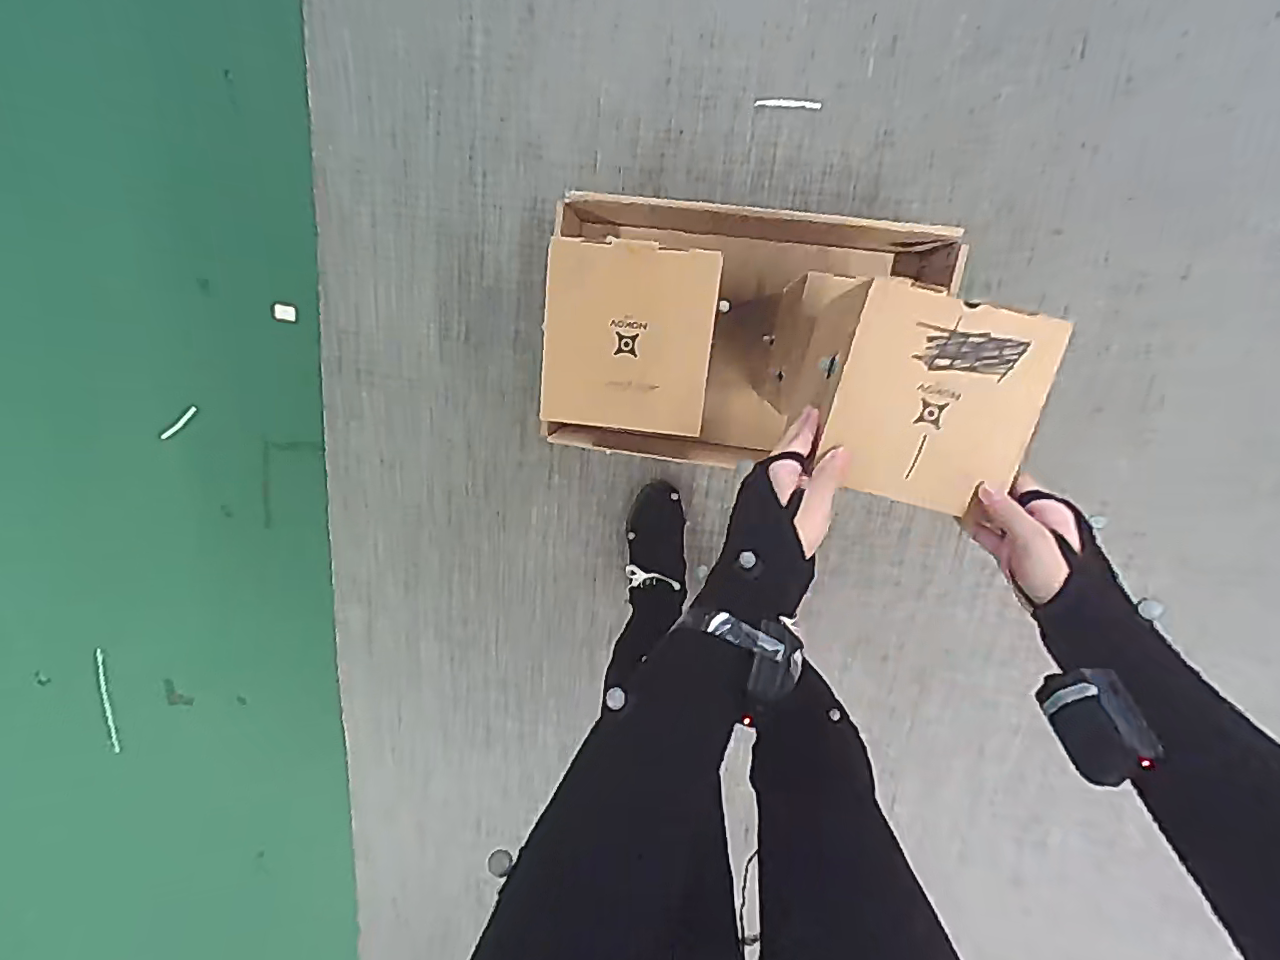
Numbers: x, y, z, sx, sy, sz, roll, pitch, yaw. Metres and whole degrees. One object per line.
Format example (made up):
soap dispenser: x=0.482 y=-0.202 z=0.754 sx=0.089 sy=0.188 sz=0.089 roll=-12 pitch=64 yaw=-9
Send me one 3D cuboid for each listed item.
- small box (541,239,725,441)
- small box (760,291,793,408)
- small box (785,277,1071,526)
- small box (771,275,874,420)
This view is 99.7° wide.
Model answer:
small box: x=-0.004 y=-0.152 z=0.599 sx=0.168 sy=0.176 sz=0.179 roll=7 pitch=106 yaw=4
small box: x=0.298 y=-0.206 z=0.894 sx=0.168 sy=0.176 sz=0.179 roll=9 pitch=105 yaw=5
small box: x=0.253 y=-0.078 z=0.528 sx=0.168 sy=0.176 sz=0.179 roll=15 pitch=102 yaw=2
small box: x=0.280 y=-0.167 z=0.735 sx=0.168 sy=0.176 sz=0.179 roll=9 pitch=105 yaw=5
